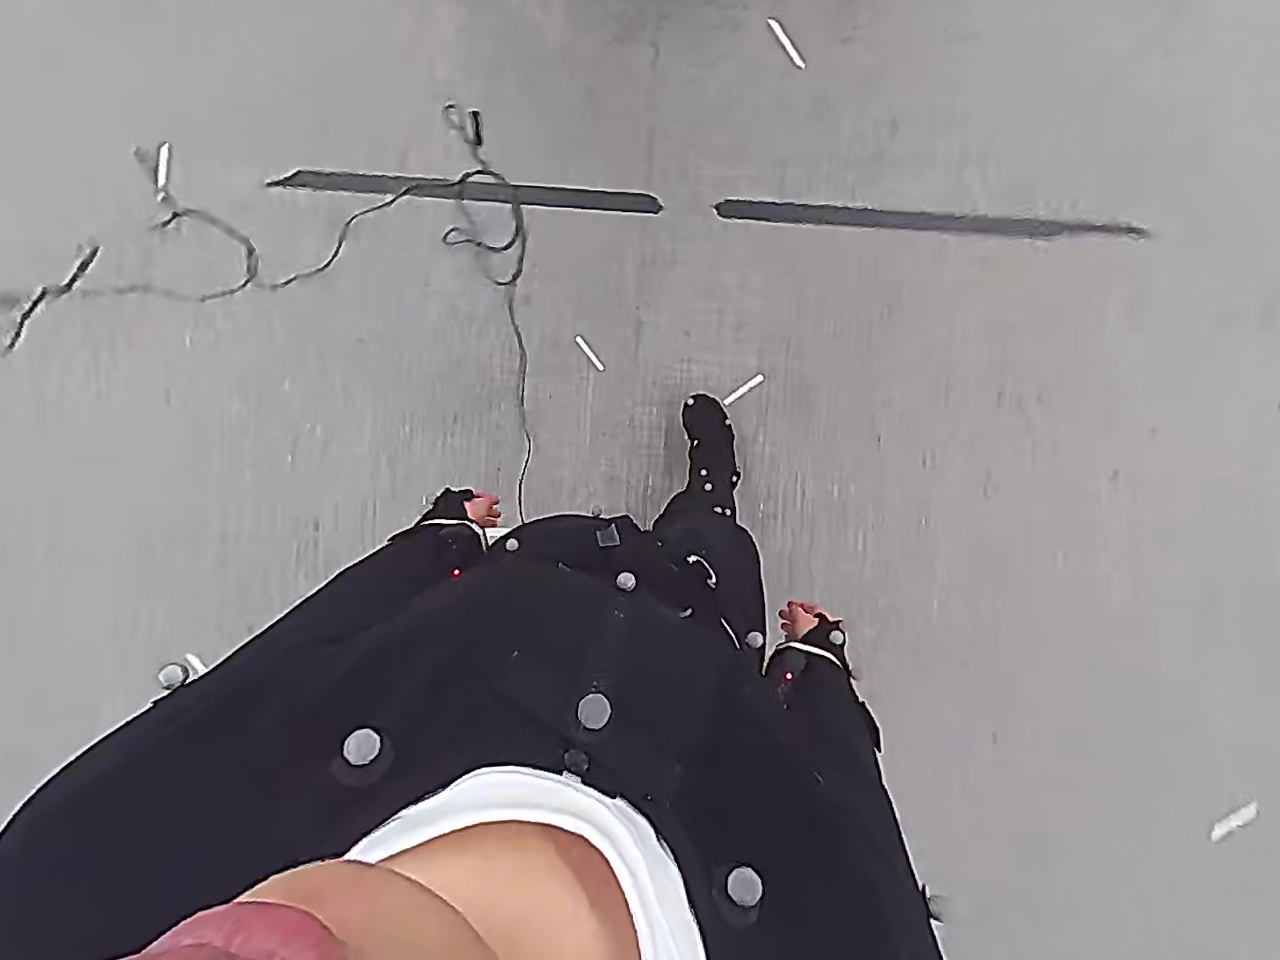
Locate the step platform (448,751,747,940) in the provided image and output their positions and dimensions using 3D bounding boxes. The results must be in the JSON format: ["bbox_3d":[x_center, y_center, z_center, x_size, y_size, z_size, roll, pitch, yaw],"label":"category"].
[{"bbox_3d":[-0.095,0.855,1.278,0.684,0.204,0.286,4,91,1],"label":"step platform"}]

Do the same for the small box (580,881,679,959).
[{"bbox_3d":[-0.021,0.850,0.937,0.168,0.176,0.179,6,90,1],"label":"small box"}]

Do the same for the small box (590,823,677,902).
[{"bbox_3d":[-0.016,0.845,1.102,0.168,0.176,0.179,6,90,2],"label":"small box"}]
